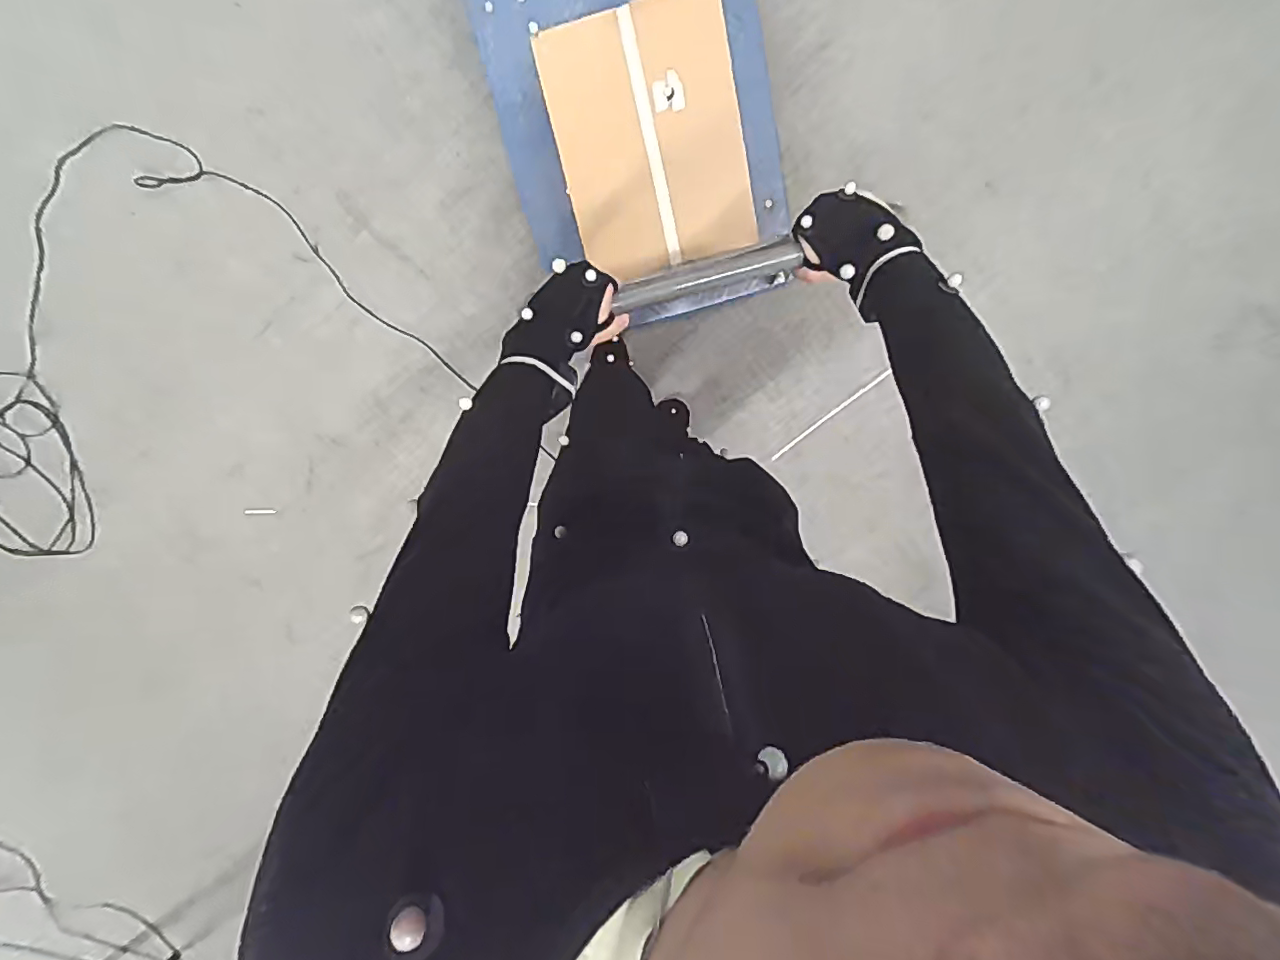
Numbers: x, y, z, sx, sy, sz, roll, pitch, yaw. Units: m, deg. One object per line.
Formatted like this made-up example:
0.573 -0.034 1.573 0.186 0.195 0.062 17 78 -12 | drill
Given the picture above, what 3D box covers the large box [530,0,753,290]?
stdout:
0.017 -0.627 1.085 0.320 0.320 0.408 -13 107 5 | large box
